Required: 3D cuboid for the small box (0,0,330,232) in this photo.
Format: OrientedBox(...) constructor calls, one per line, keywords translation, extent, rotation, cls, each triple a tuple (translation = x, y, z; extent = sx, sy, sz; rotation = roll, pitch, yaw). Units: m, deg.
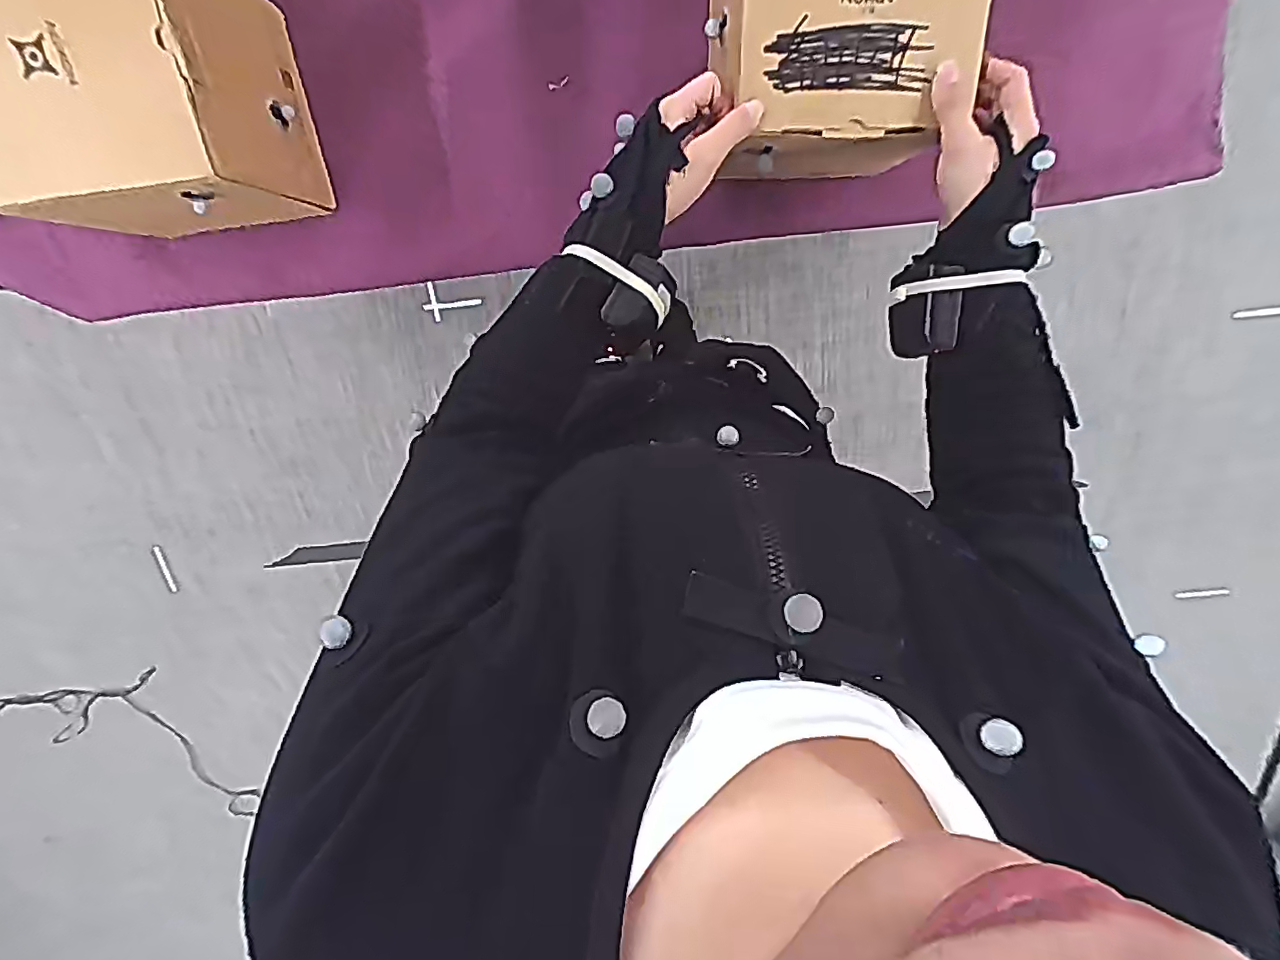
OrientedBox(translation=(-0.393, -0.305, 0.430), extent=(0.179, 0.176, 0.168), rotation=(-9, 109, 0), cls="small box")
